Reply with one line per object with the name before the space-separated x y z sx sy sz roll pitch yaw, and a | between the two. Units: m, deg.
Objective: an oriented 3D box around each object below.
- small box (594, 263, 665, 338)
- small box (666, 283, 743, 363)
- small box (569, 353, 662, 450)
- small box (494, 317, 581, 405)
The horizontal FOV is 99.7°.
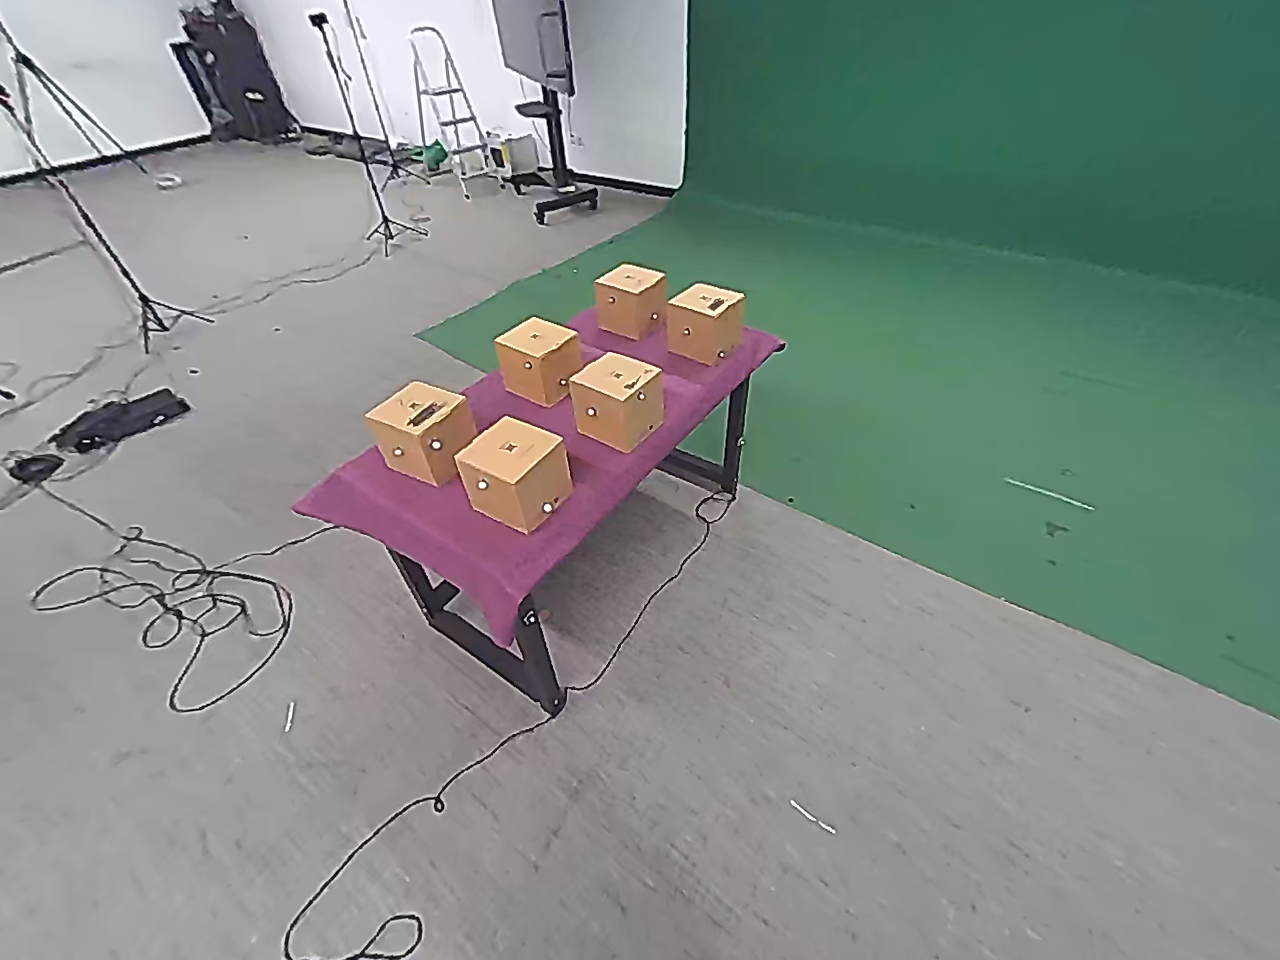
small box | -0.032 -0.599 1.810 0.179 0.176 0.168 27 52 26
small box | 0.201 -0.484 1.678 0.179 0.176 0.168 28 52 30
small box | -0.058 -0.202 1.401 0.179 0.176 0.168 25 51 28
small box | -0.289 -0.342 1.561 0.179 0.176 0.168 26 50 25
